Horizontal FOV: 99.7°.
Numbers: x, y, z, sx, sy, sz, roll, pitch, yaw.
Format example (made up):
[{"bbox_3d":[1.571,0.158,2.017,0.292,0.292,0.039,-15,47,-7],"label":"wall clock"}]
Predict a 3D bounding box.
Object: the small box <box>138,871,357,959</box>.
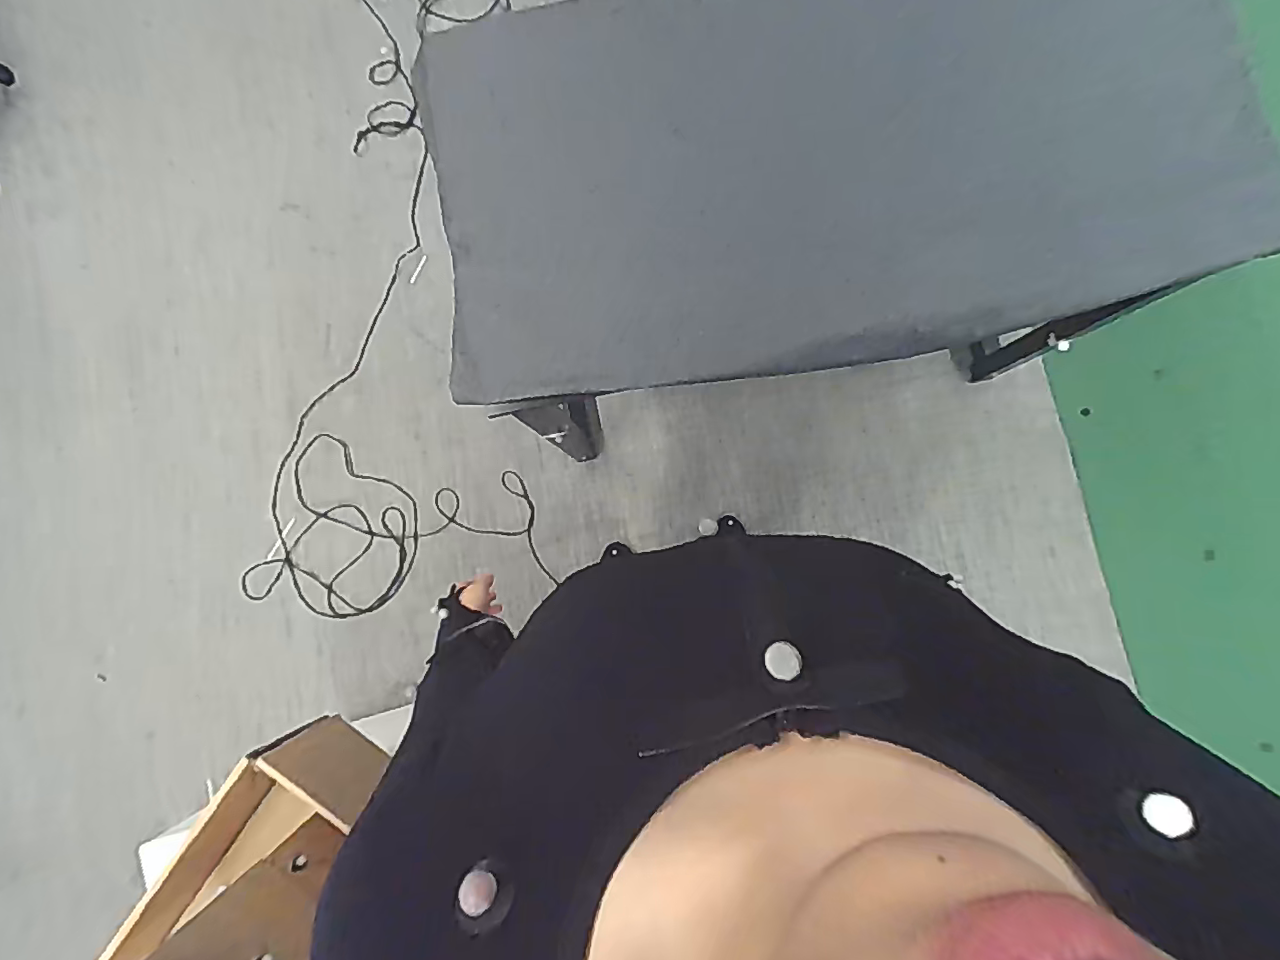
[{"bbox_3d":[-0.469,0.591,0.605,0.179,0.176,0.168,36,90,3],"label":"small box"}]
